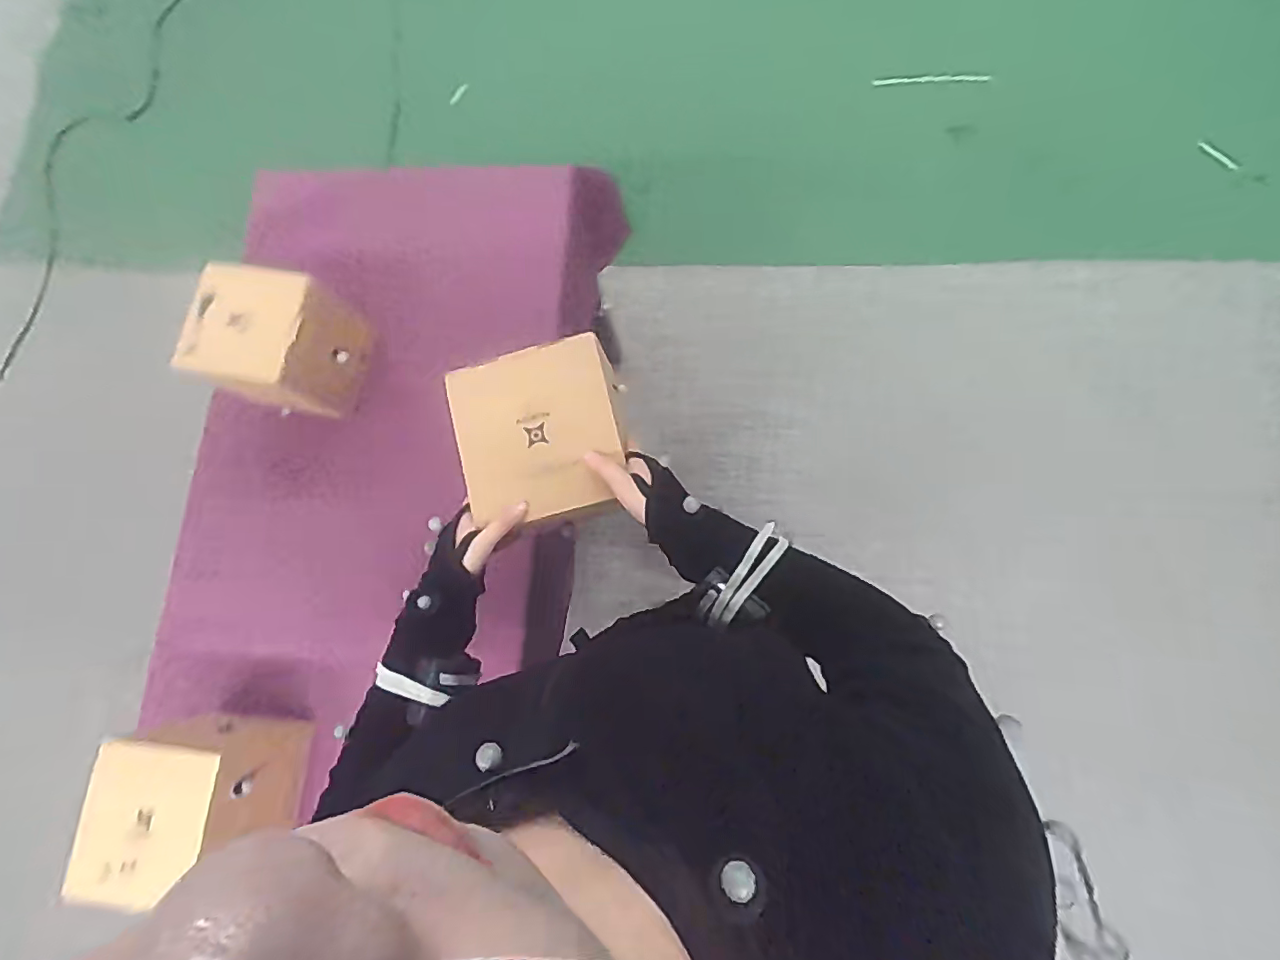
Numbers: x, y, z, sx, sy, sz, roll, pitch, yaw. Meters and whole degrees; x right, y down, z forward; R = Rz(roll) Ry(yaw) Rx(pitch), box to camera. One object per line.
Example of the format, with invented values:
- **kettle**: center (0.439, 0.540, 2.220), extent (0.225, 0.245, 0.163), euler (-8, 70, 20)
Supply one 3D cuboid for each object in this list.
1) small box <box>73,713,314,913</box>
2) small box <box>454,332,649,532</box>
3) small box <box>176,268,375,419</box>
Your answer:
- **small box**: center (-0.578, 0.426, 0.727), extent (0.168, 0.176, 0.179), euler (3, 79, 8)
- **small box**: center (-0.091, -0.042, 0.628), extent (0.168, 0.176, 0.179), euler (-14, 82, 5)
- **small box**: center (-0.557, -0.205, 0.854), extent (0.179, 0.176, 0.168), euler (10, 79, 8)
